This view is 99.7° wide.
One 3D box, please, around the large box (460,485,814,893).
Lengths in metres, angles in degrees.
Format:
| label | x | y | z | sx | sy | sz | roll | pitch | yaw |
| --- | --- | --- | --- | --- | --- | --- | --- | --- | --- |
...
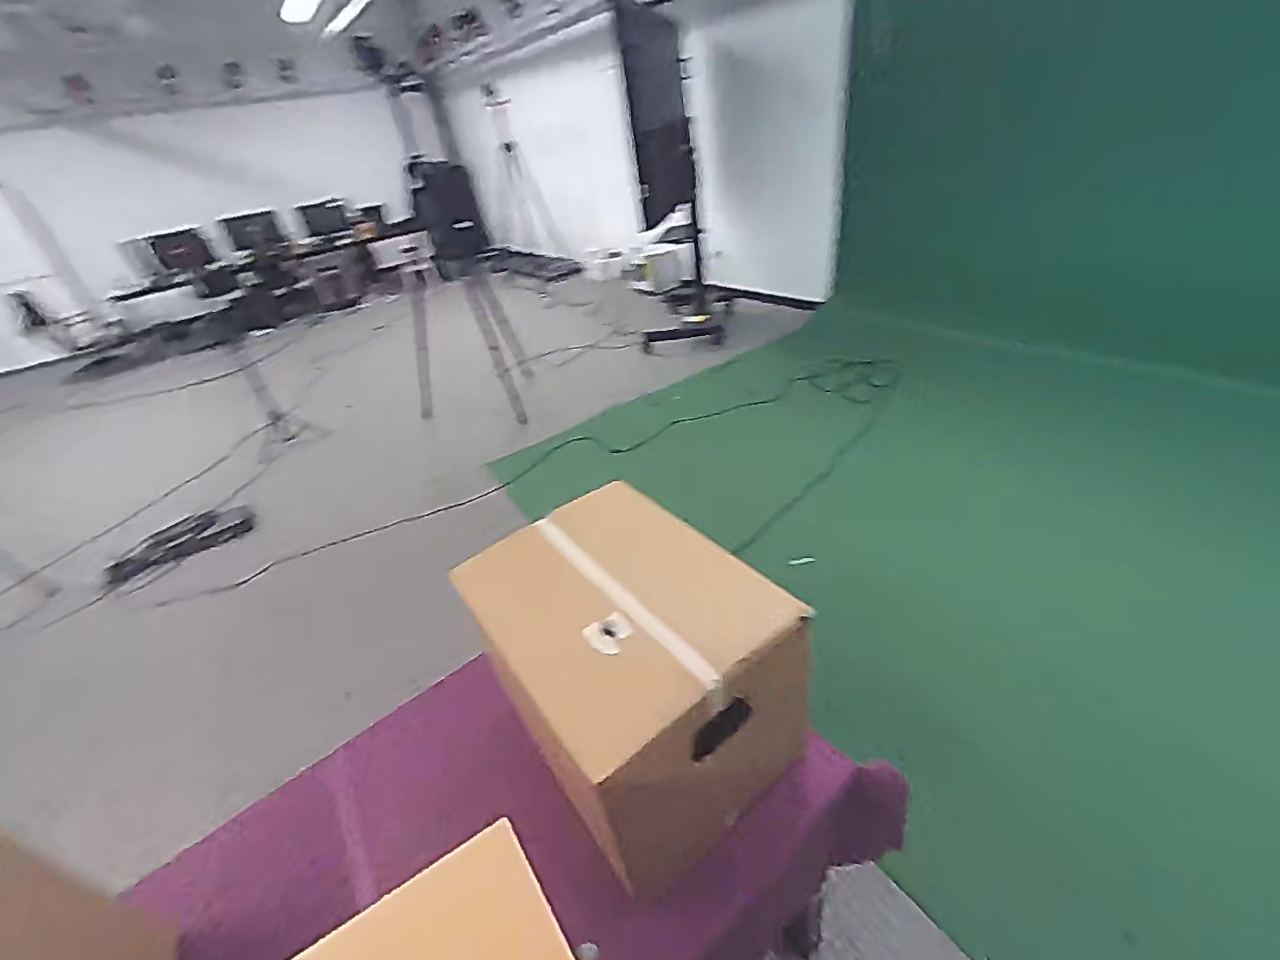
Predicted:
| label | x | y | z | sx | sy | sz | roll | pitch | yaw |
| --- | --- | --- | --- | --- | --- | --- | --- | --- | --- |
| large box | -0.012 | 0.268 | 0.804 | 0.320 | 0.320 | 0.408 | -28 | 39 | -26 |
